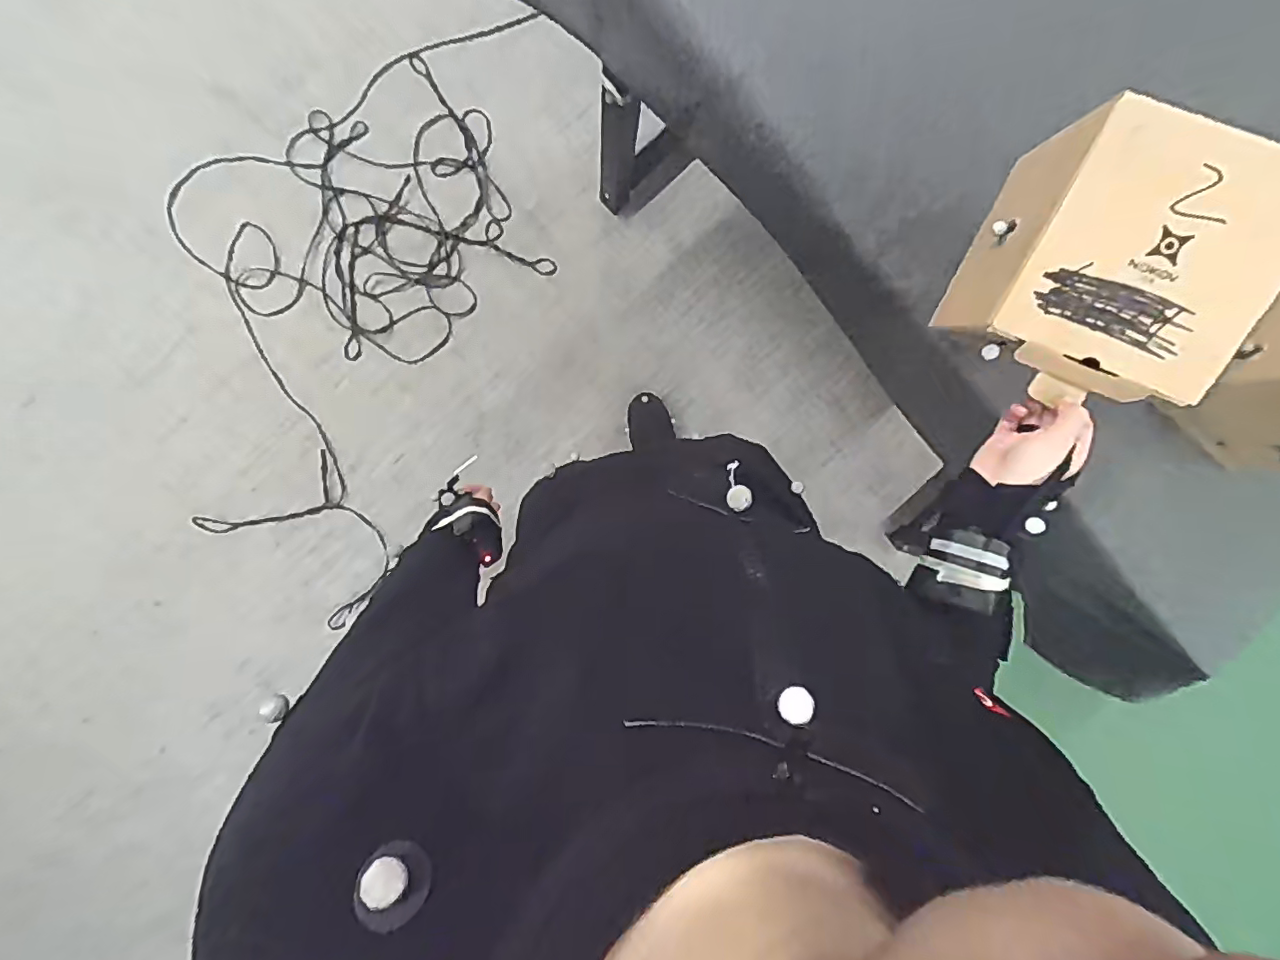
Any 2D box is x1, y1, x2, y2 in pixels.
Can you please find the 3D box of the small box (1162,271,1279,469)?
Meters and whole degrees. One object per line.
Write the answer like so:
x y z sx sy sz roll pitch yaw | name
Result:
0.741 -0.120 0.590 0.168 0.176 0.179 36 89 -7 | small box
